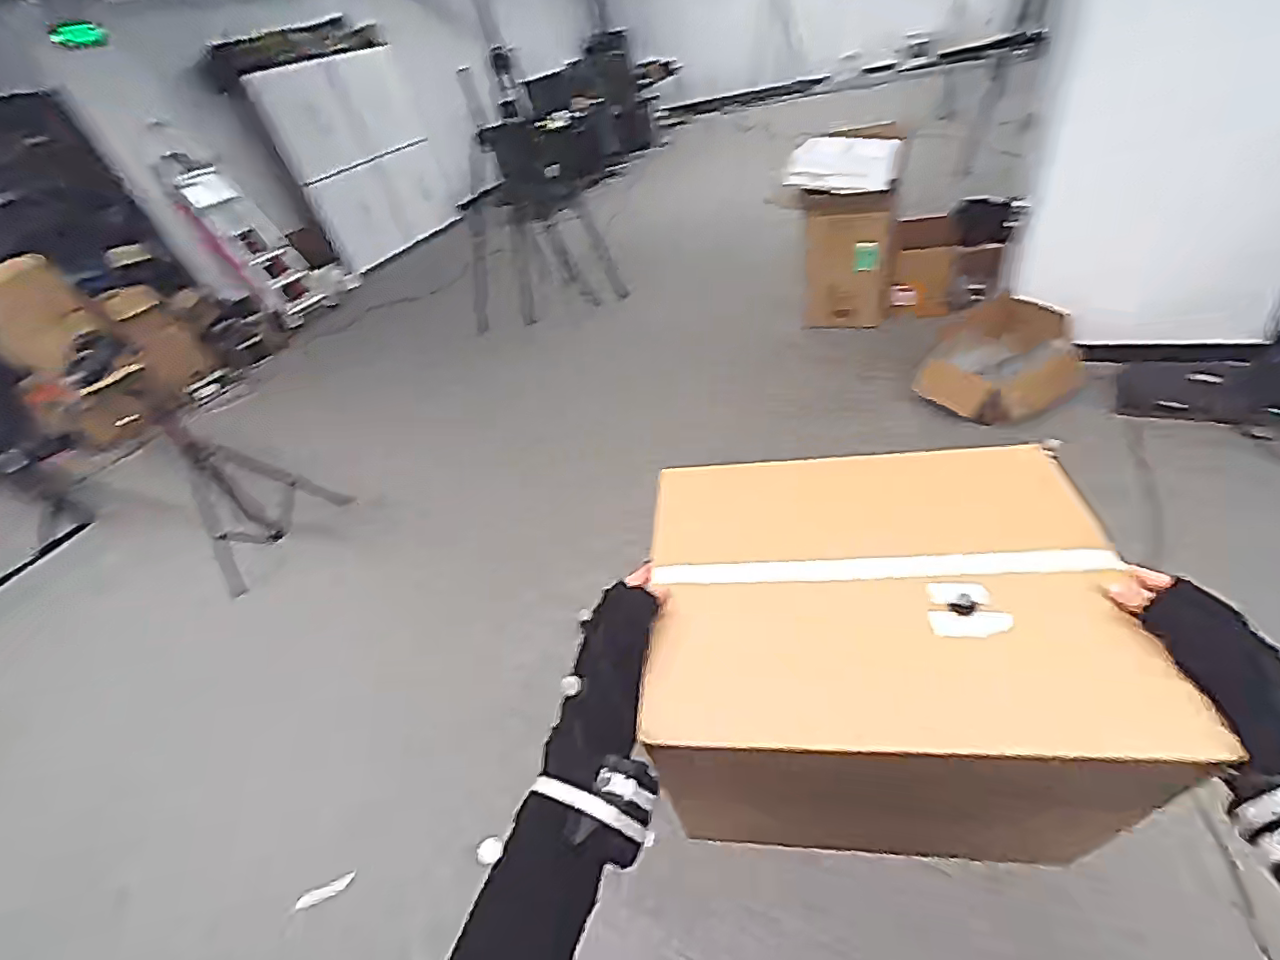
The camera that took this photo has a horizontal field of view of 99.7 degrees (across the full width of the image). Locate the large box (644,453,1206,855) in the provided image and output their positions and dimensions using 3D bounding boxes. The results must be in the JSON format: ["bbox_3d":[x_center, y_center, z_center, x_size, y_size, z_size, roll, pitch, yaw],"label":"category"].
[{"bbox_3d":[0.232,0.197,0.609,0.408,0.320,0.320,-4,44,11],"label":"large box"}]
